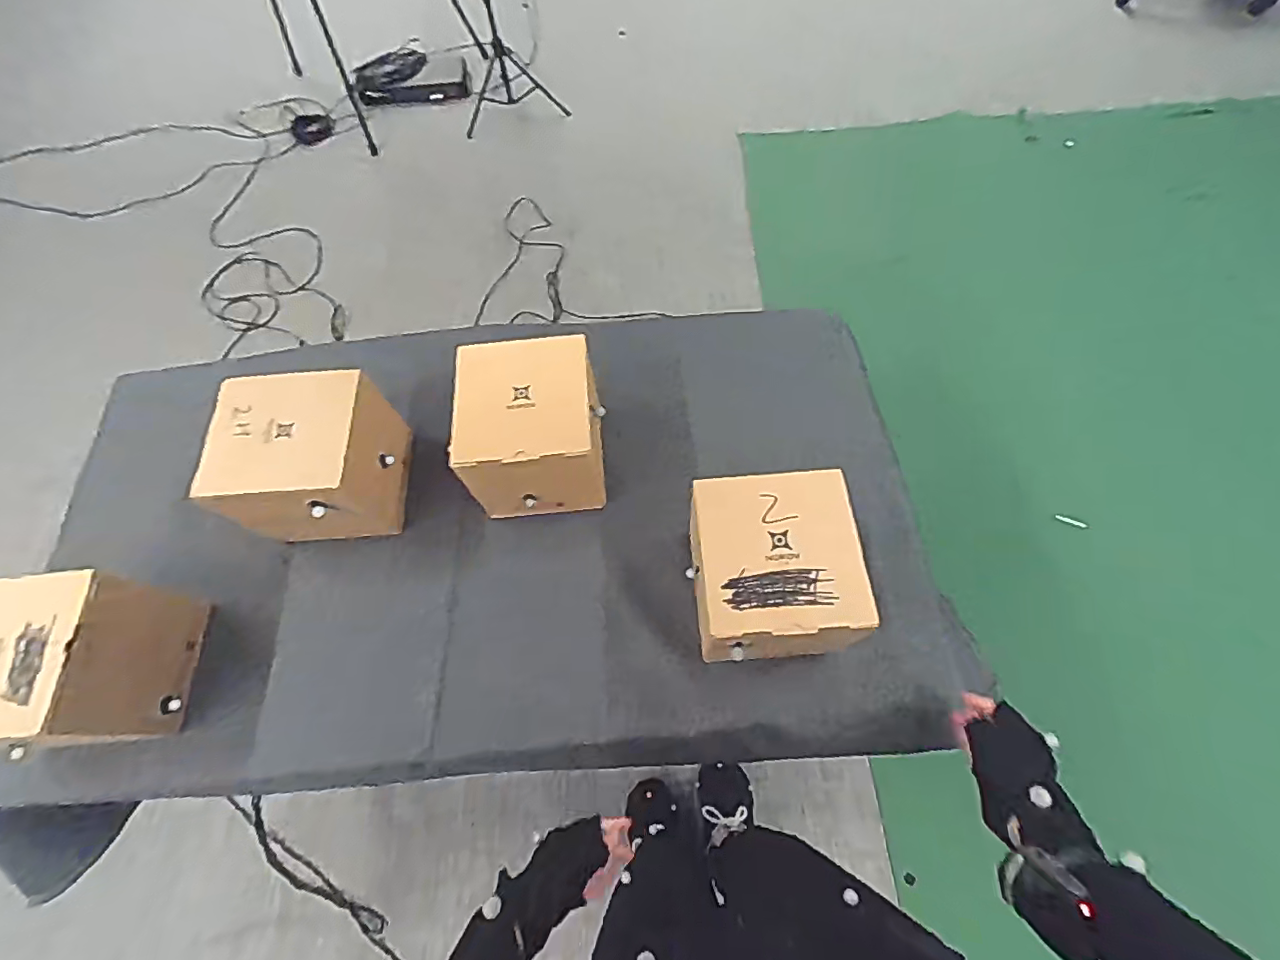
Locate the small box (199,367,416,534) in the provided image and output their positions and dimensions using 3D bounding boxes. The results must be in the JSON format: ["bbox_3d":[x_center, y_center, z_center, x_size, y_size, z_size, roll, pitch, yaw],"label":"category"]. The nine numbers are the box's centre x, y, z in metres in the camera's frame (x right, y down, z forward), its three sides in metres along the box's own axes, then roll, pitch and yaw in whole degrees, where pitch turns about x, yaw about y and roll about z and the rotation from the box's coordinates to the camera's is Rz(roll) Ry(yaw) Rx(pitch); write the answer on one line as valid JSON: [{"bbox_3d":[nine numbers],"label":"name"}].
[{"bbox_3d":[-0.422,-0.032,0.725,0.179,0.176,0.168,-3,66,1],"label":"small box"}]

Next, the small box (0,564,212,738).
[{"bbox_3d":[-0.654,0.204,0.627,0.179,0.176,0.168,-5,65,0],"label":"small box"}]

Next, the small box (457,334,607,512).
[{"bbox_3d":[-0.135,-0.071,0.735,0.168,0.176,0.179,-5,66,0],"label":"small box"}]
